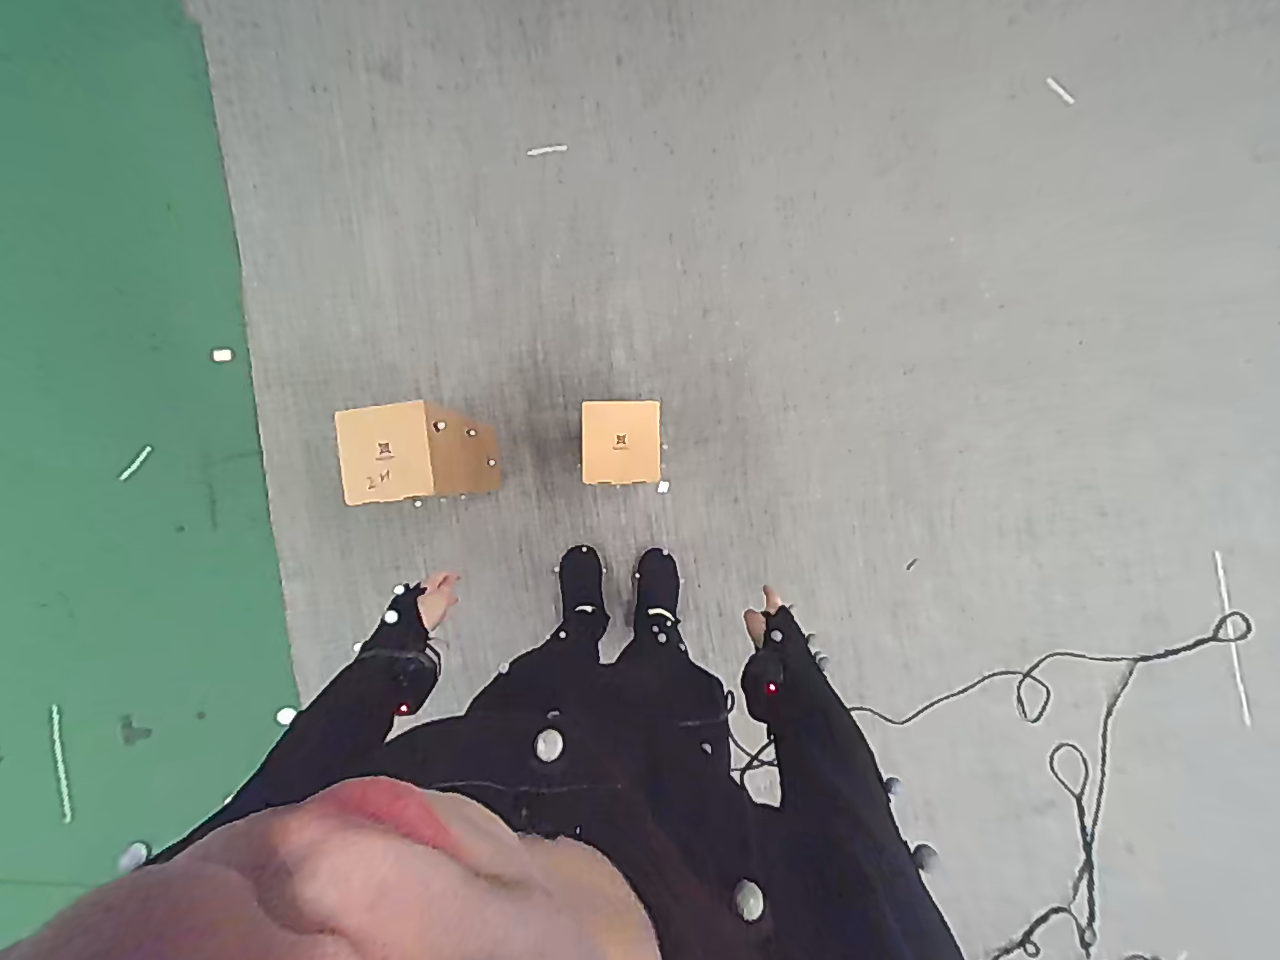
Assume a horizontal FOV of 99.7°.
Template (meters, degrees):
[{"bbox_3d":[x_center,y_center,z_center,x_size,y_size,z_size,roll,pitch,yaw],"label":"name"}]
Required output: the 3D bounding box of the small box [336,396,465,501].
[{"bbox_3d":[-0.453,-0.055,1.046,0.168,0.176,0.179,-7,90,1],"label":"small box"}]

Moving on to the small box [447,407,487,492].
[{"bbox_3d":[-0.456,-0.057,1.212,0.168,0.176,0.179,-7,91,1],"label":"small box"}]

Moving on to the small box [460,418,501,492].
[{"bbox_3d":[-0.459,-0.059,1.374,0.168,0.176,0.179,-4,91,0],"label":"small box"}]

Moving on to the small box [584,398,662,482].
[{"bbox_3d":[-0.038,-0.084,1.211,0.168,0.176,0.179,-1,90,0],"label":"small box"}]
